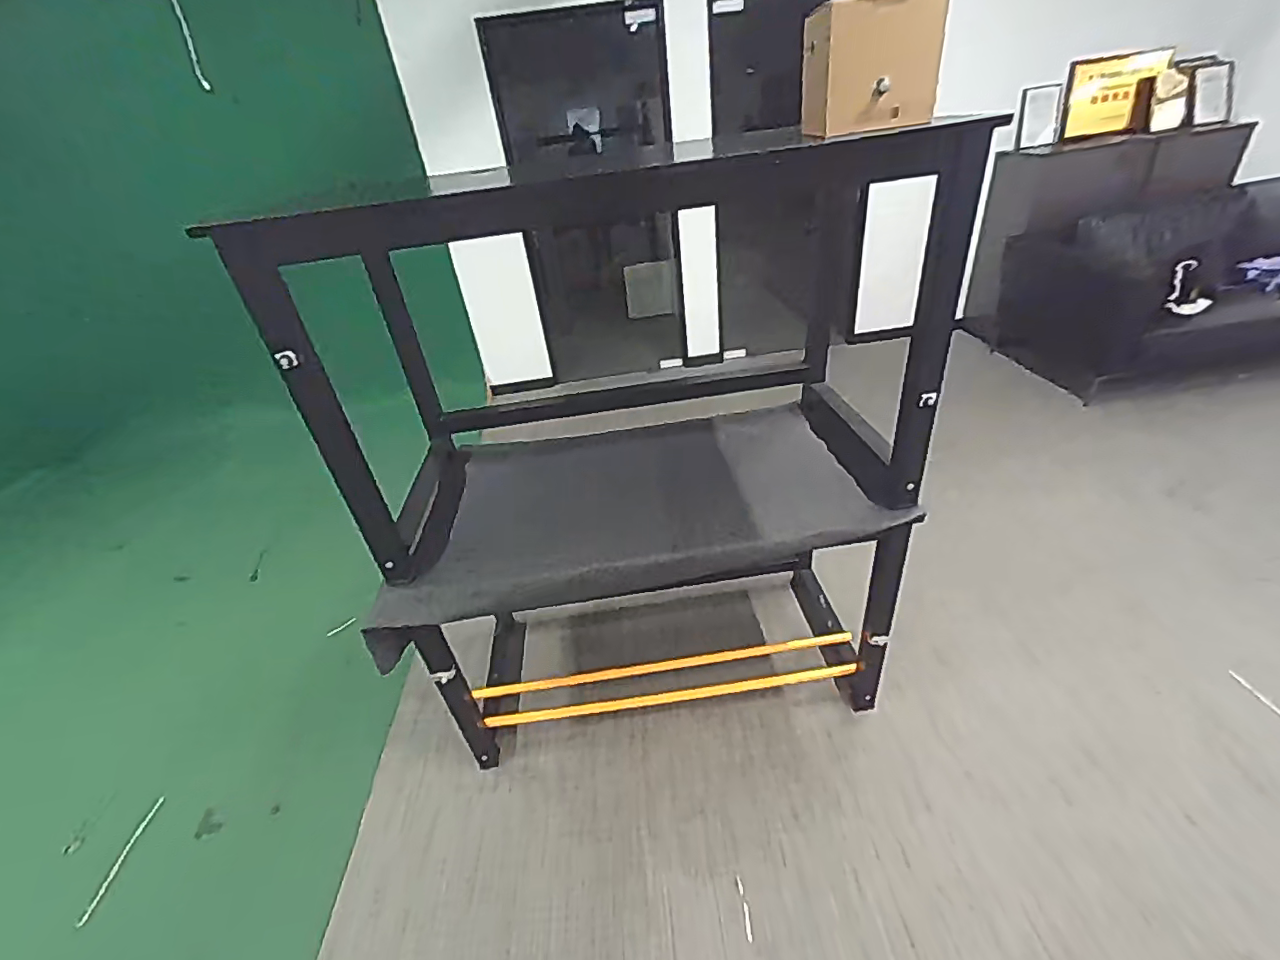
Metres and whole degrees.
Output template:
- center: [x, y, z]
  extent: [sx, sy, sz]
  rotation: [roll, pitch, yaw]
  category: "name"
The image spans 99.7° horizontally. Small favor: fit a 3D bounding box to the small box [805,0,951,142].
- center: [0.369, -0.655, 0.875]
  extent: [0.168, 0.176, 0.179]
  rotation: [-5, 33, 6]
  category: "small box"
